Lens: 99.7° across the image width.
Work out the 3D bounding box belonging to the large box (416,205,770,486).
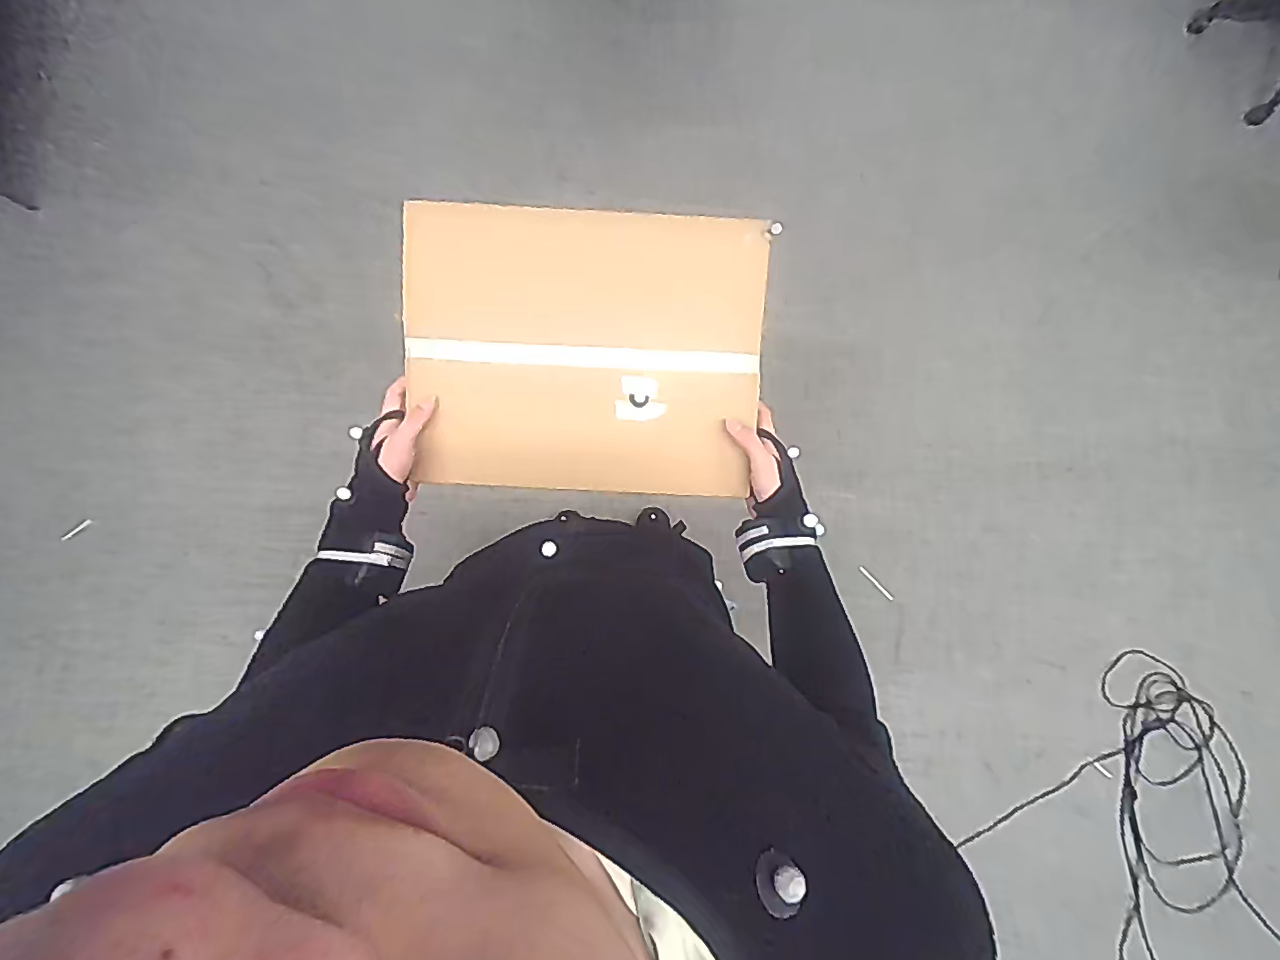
[{"bbox_3d":[-0.060,-0.170,0.772,0.408,0.320,0.320,2,100,-1],"label":"large box"}]
